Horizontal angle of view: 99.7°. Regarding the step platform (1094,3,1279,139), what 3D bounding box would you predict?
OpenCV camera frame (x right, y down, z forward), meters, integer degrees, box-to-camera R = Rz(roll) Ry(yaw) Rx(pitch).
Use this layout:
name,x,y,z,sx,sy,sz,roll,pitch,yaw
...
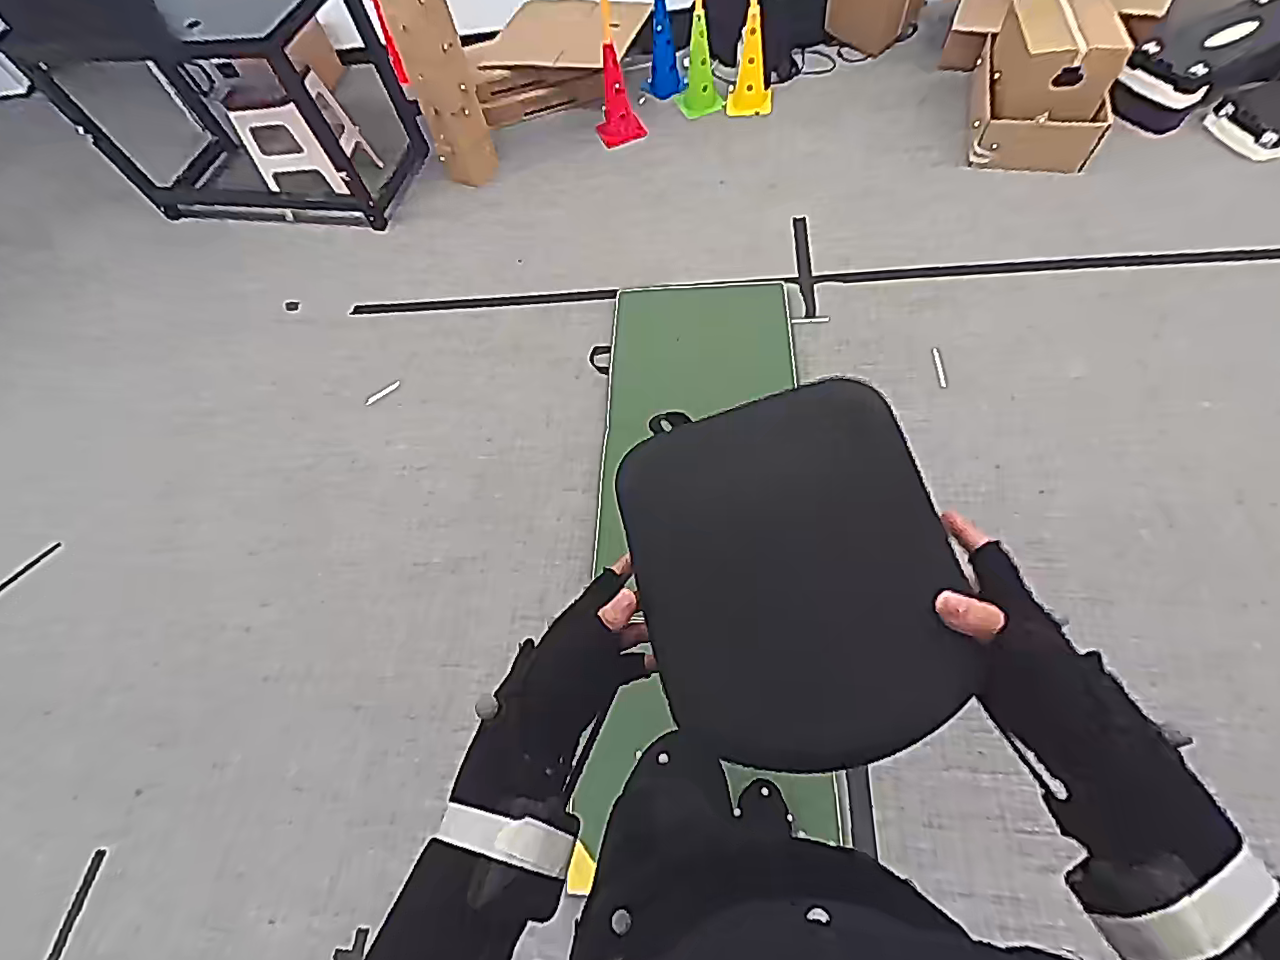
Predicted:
name,x,y,z,sx,sy,sz,roll,pitch,yaw
step platform,2.191,-1.604,2.116,0.684,0.204,0.286,-27,63,-6
